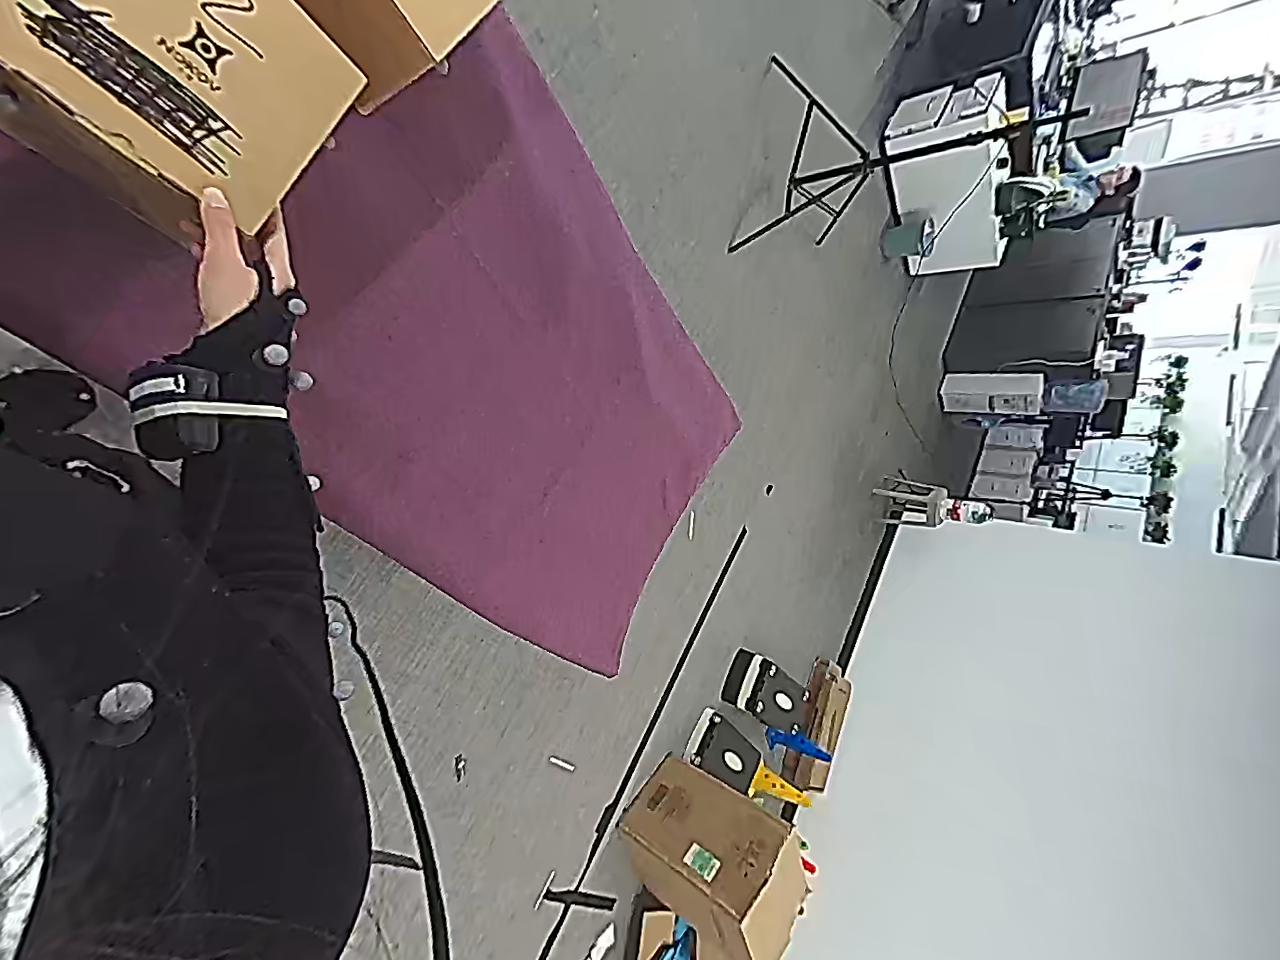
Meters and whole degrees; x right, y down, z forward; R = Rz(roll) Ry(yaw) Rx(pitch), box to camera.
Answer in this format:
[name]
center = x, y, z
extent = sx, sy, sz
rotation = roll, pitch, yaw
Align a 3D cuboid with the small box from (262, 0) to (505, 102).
[small box]
center = -0.261, -0.509, 0.526
extent = 0.179, 0.176, 0.168
rotation = 48, 62, -43
